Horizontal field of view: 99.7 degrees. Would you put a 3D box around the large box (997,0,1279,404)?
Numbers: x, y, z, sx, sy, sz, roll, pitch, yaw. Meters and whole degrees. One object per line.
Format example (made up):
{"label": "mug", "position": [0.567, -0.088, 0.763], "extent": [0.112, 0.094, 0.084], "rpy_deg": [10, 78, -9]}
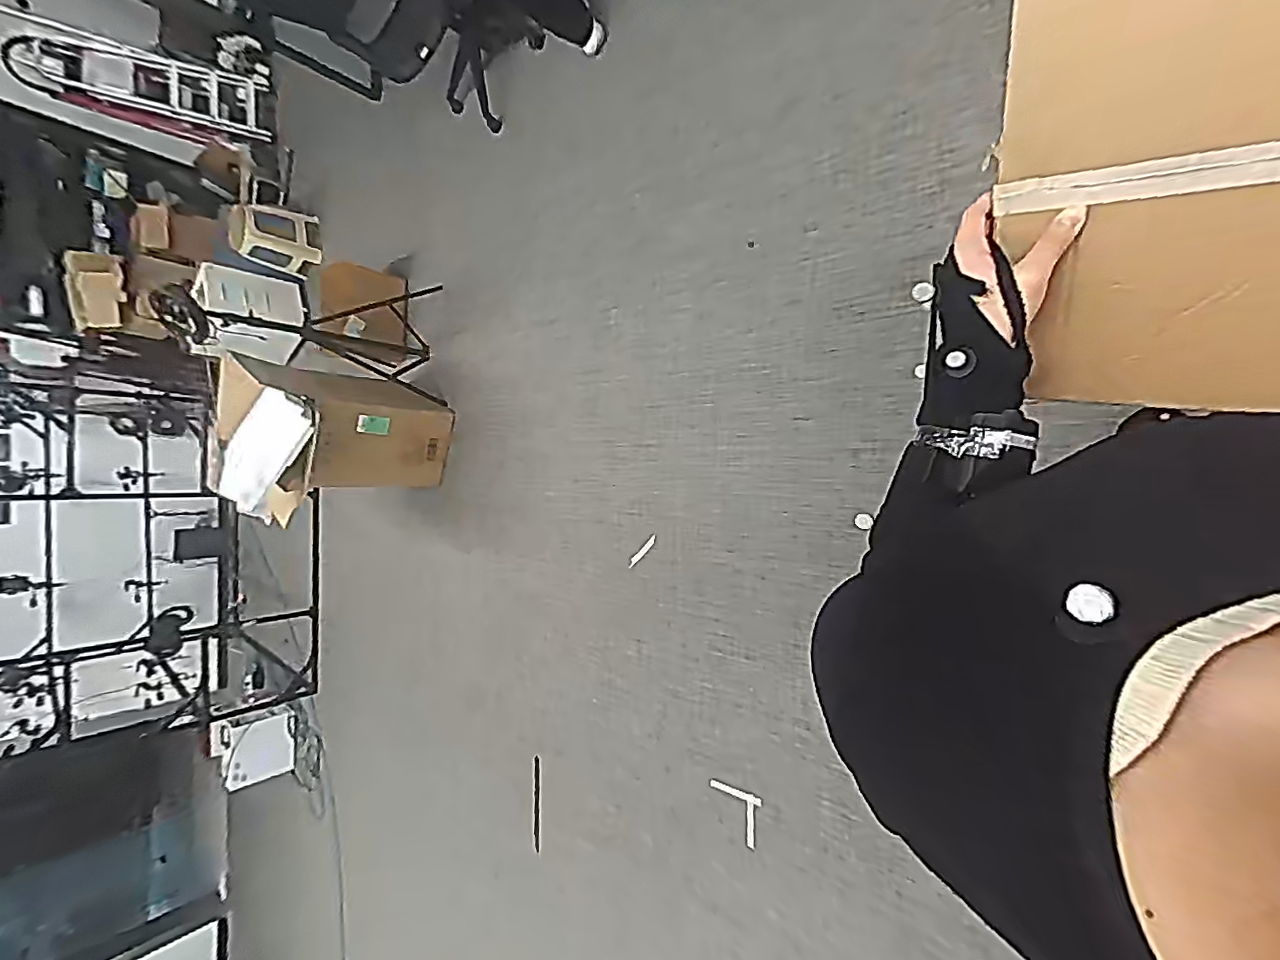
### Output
{"label": "large box", "position": [0.509, -0.249, 0.354], "extent": [0.408, 0.320, 0.320], "rpy_deg": [13, 130, 42]}
